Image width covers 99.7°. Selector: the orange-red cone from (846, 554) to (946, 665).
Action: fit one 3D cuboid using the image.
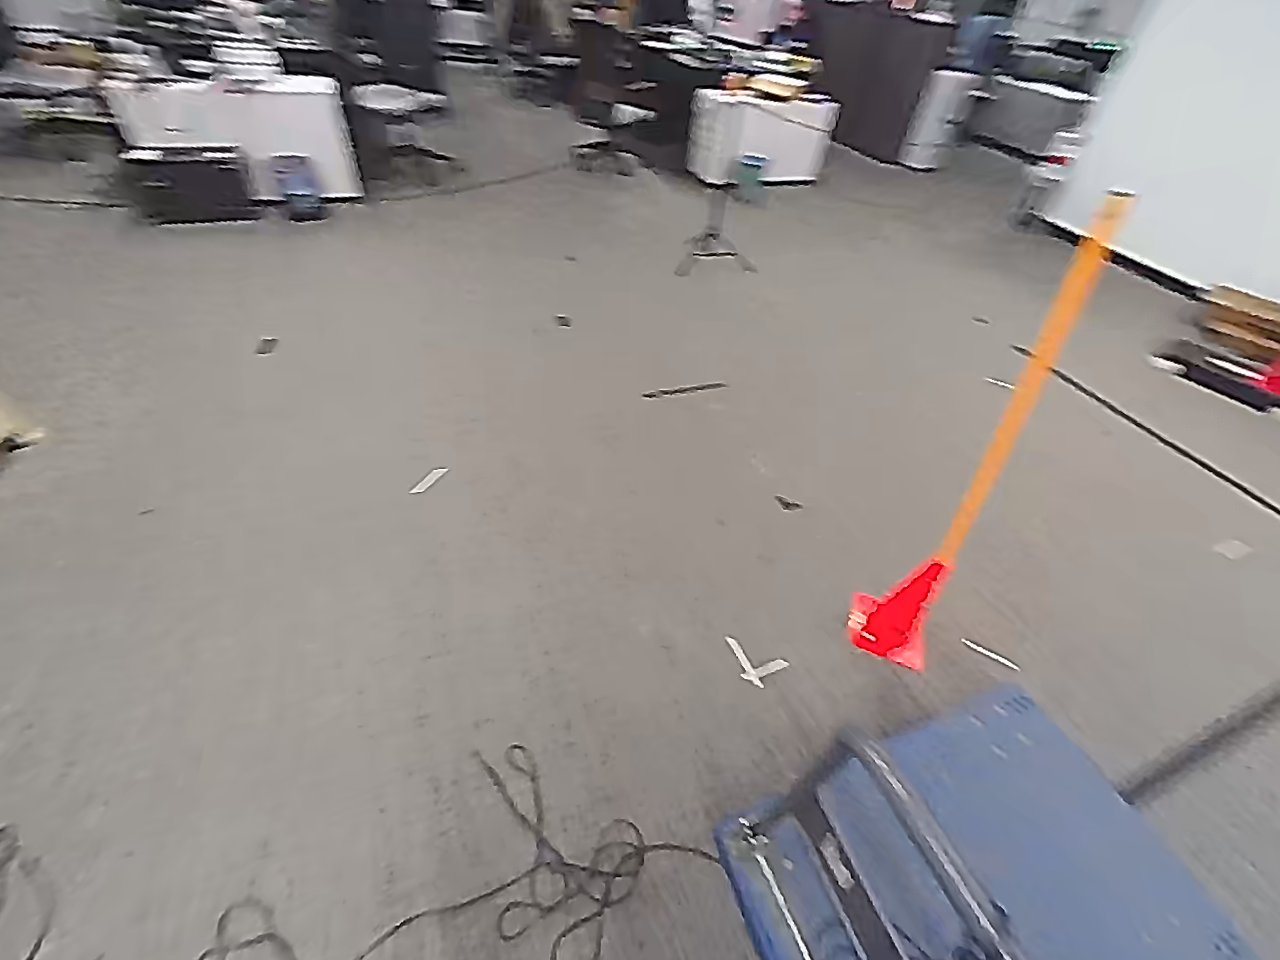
[{"bbox_3d":[0.745,0.322,1.498,0.199,0.360,0.198,21,47,11],"label":"orange-red cone"}]
